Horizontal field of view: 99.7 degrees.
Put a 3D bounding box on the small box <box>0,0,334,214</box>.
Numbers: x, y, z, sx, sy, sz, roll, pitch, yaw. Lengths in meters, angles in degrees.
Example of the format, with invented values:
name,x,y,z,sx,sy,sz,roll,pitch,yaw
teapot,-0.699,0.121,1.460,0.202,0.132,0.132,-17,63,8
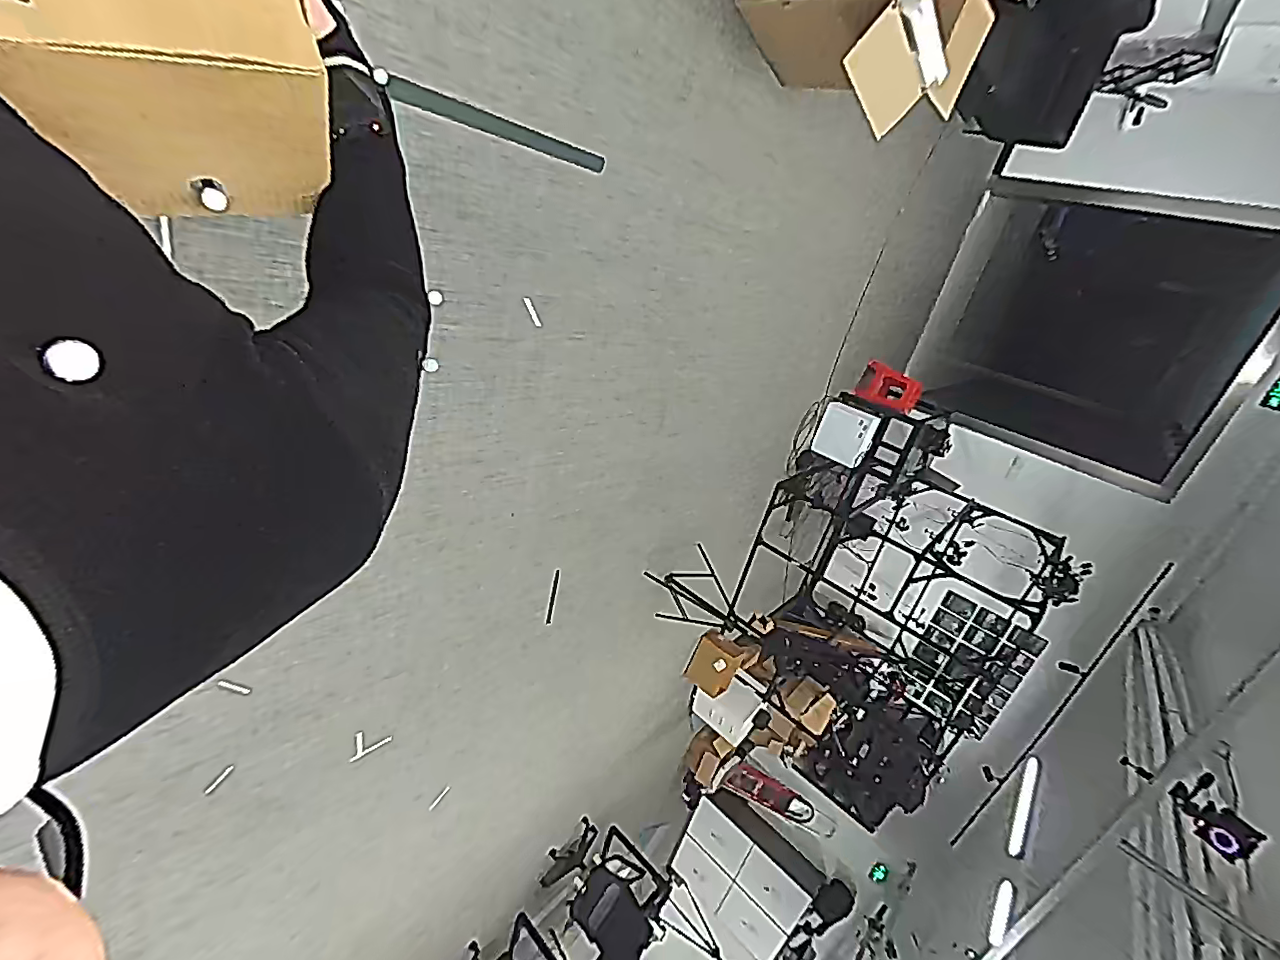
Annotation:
name,x,y,z,sx,sy,sz,roll,pitch,yaw
small box,-0.343,-0.317,0.395,0.179,0.176,0.168,-18,91,-29
